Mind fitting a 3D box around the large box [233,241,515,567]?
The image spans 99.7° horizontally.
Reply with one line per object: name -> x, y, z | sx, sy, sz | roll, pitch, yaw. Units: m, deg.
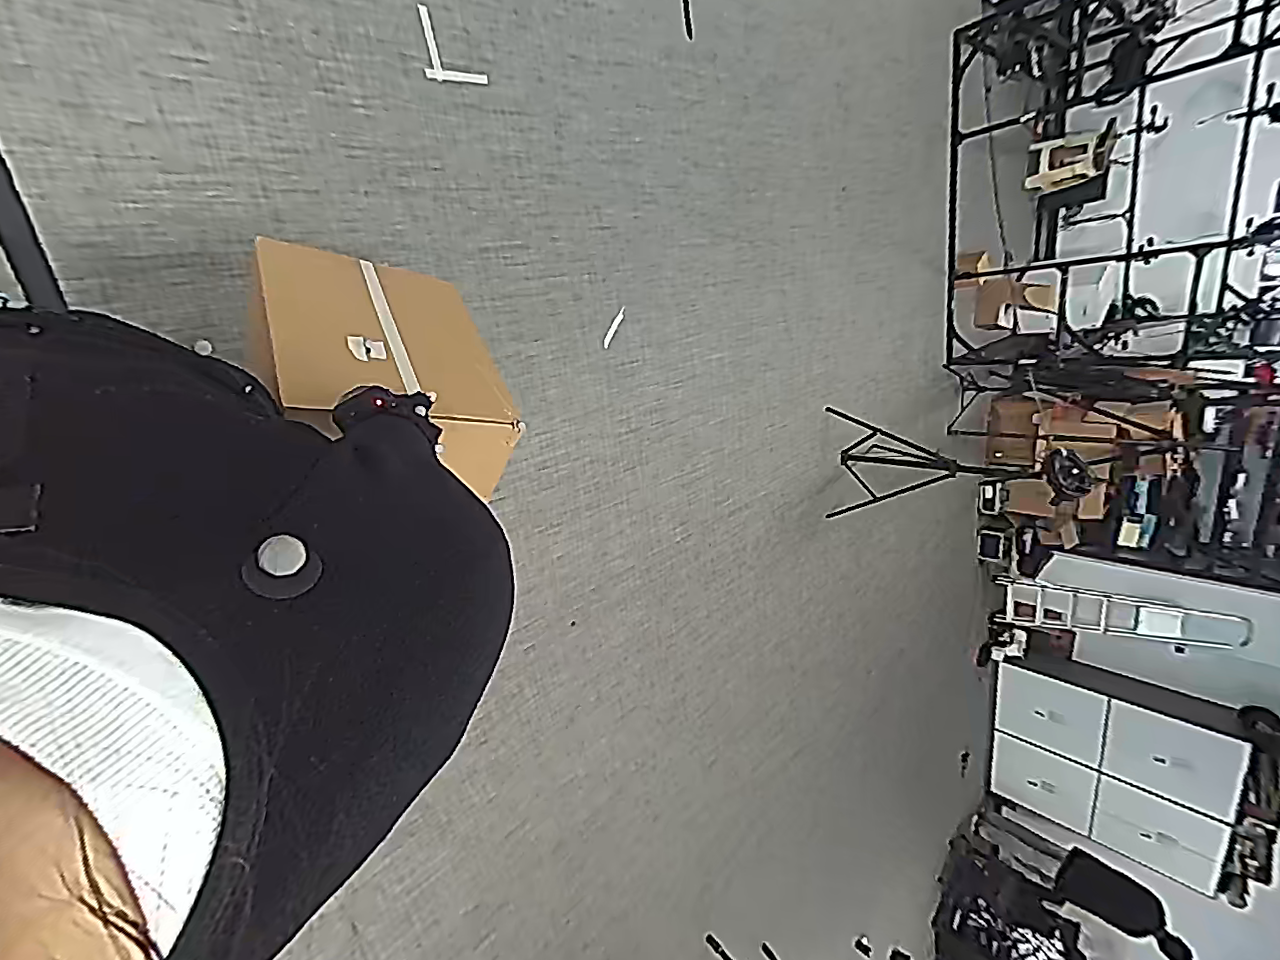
large box -> -0.465, -0.117, 0.901 | 0.320, 0.408, 0.320 | -1, 138, -40
